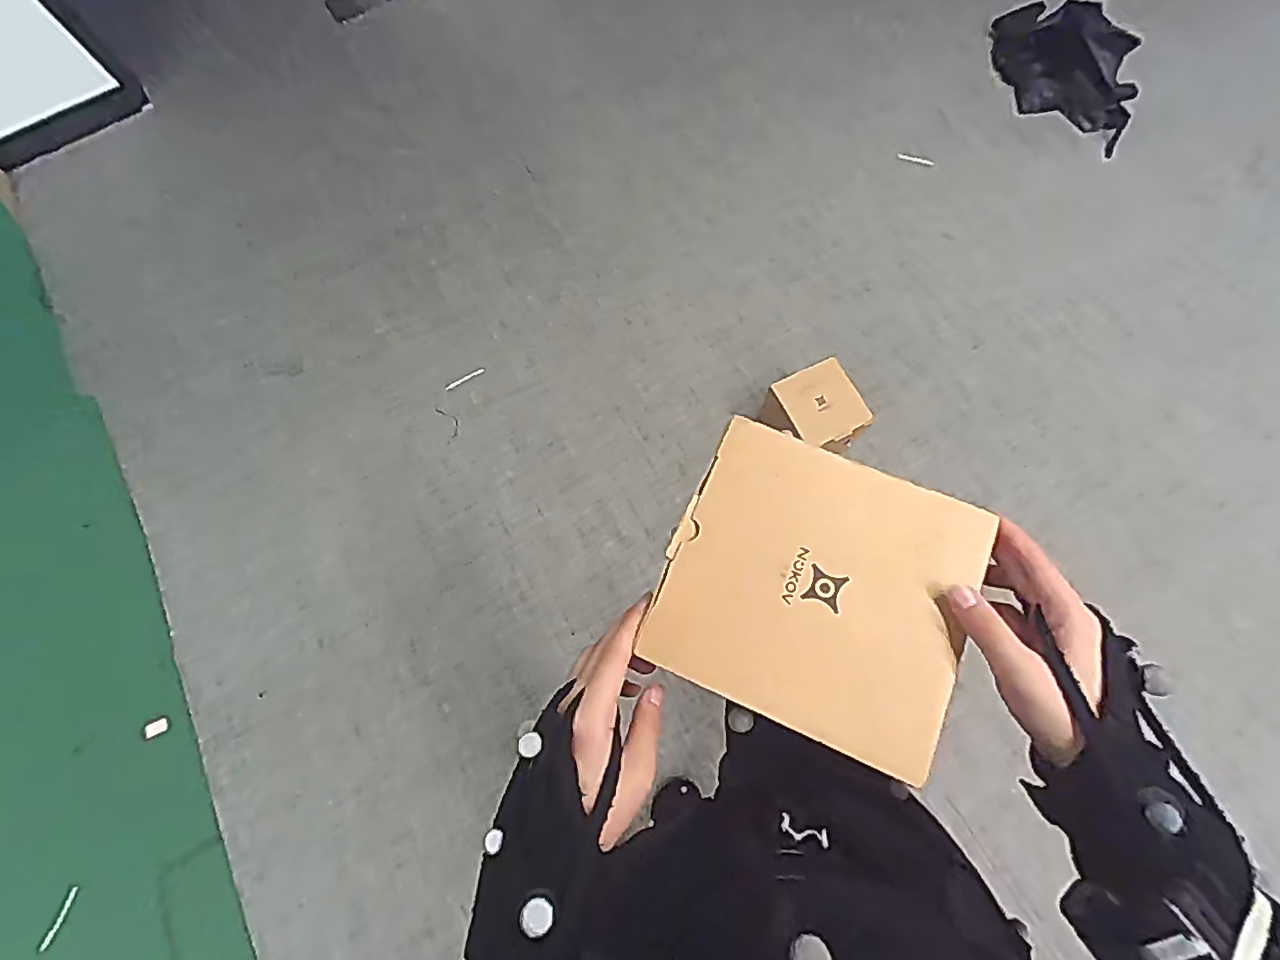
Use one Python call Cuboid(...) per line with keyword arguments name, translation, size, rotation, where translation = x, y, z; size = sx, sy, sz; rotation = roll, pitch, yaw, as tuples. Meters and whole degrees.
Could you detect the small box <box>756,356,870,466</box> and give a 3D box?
Cuboid(name="small box", translation=(0.391, -0.149, 1.251), size=(0.168, 0.176, 0.179), rotation=(-25, 73, -7))
